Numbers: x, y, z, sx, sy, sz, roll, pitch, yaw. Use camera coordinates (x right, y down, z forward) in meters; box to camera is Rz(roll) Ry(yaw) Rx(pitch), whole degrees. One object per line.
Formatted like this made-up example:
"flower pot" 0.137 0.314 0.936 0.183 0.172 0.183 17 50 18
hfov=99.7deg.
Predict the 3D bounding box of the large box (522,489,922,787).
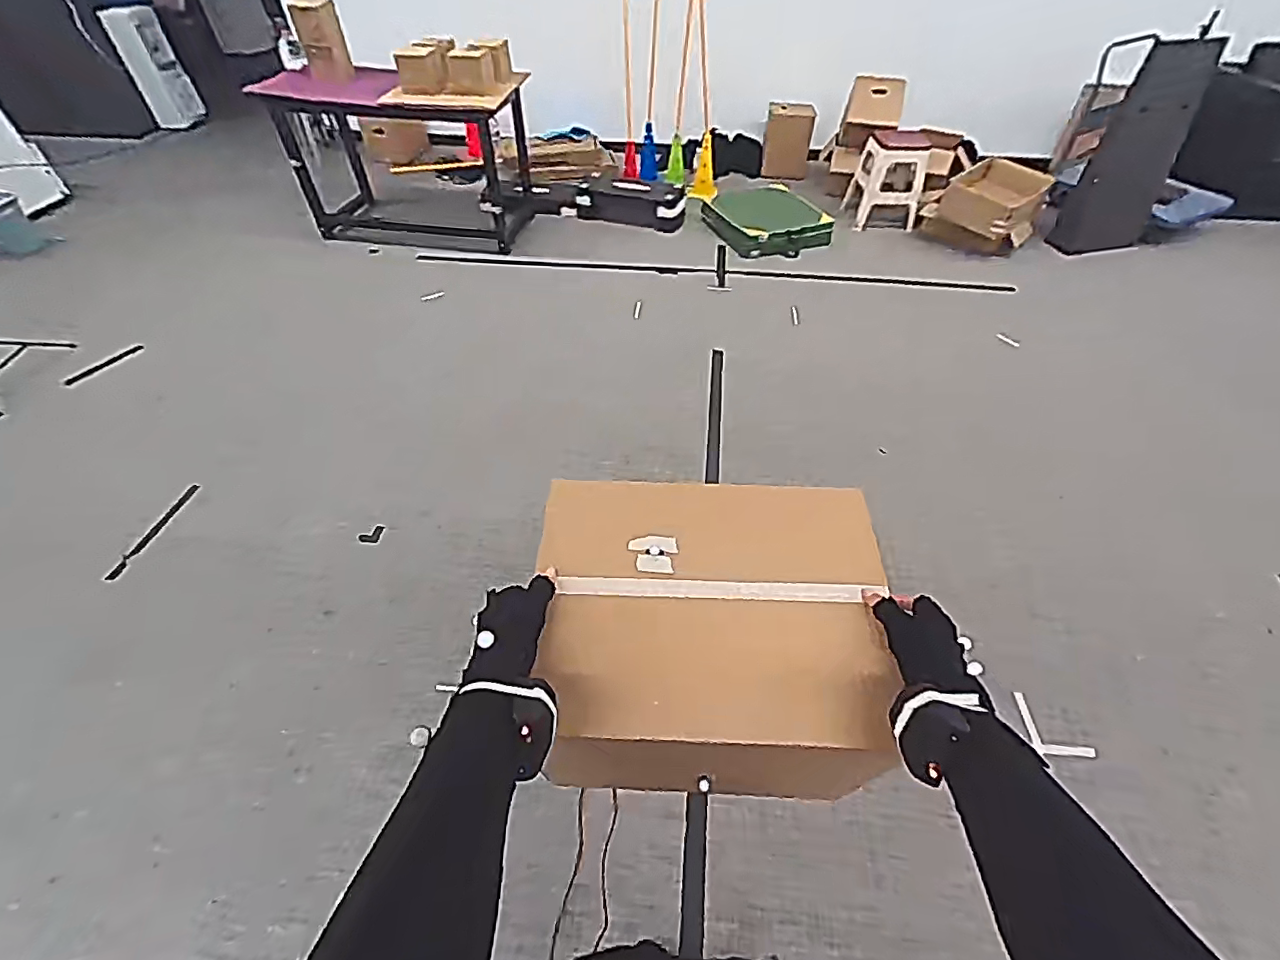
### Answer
"large box" 0.087 0.224 0.740 0.408 0.320 0.320 1 51 2
